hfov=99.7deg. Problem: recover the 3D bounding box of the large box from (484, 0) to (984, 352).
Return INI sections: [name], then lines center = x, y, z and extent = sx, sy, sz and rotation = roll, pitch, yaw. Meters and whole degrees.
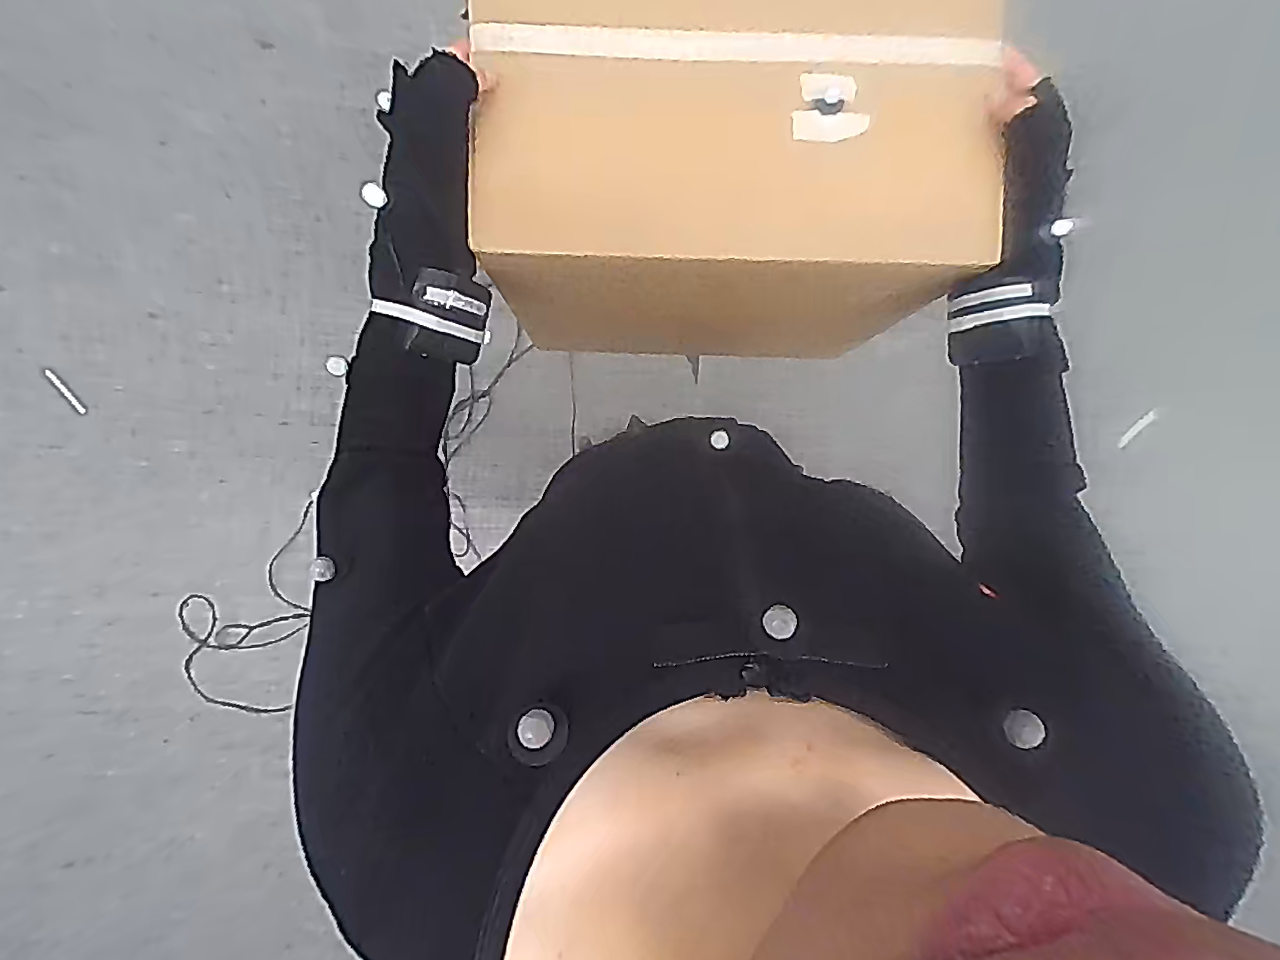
[large box]
center = 0.069, -0.327, 0.576
extent = 0.408, 0.320, 0.320
rotation = 1, 90, -2
